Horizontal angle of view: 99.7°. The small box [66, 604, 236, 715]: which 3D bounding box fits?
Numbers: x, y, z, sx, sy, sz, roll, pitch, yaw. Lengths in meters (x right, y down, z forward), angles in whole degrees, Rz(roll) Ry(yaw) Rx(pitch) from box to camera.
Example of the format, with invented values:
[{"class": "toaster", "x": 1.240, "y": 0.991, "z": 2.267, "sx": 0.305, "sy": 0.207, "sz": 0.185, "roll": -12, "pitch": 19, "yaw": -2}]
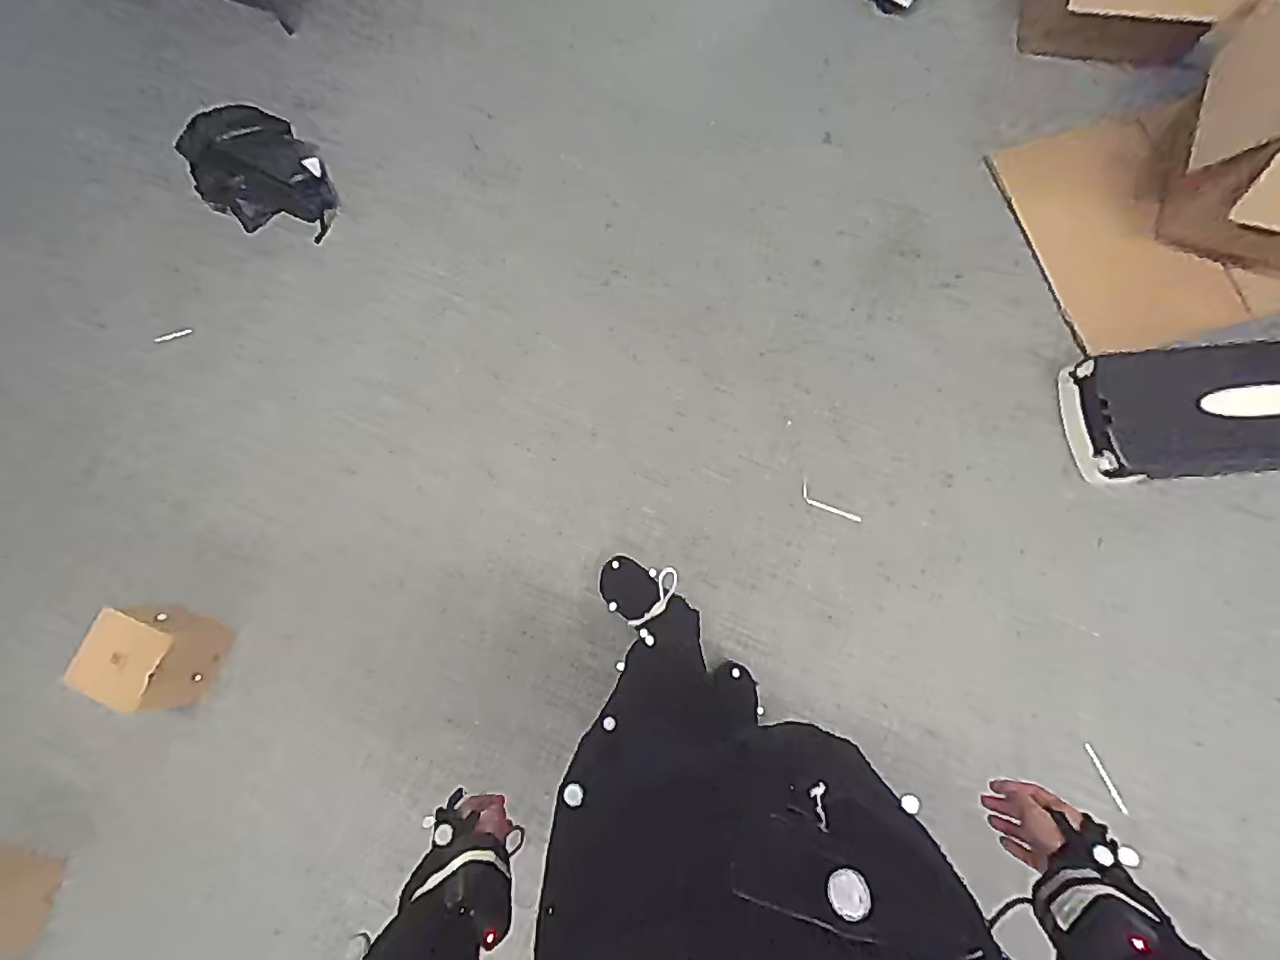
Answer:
[{"class": "small box", "x": -1.041, "y": 0.380, "z": 1.167, "sx": 0.179, "sy": 0.176, "sz": 0.168, "roll": 21, "pitch": 79, "yaw": 6}]
